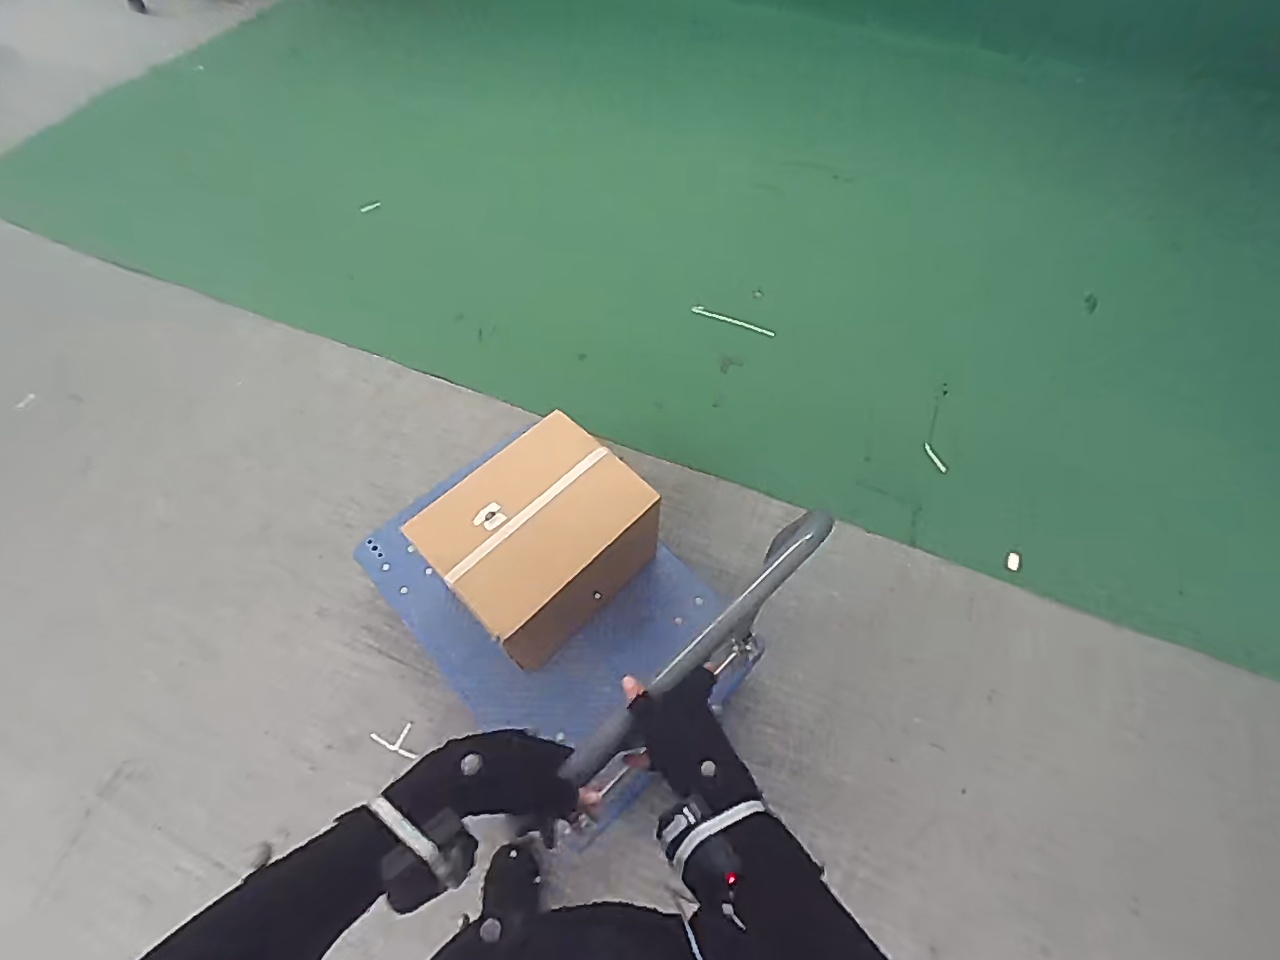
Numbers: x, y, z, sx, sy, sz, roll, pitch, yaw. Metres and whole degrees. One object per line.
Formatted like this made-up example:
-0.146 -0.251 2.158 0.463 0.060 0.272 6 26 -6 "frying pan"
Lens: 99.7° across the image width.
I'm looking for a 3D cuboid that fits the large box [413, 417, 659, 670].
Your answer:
-0.200 0.146 1.200 0.320 0.320 0.408 39 69 20 "large box"
